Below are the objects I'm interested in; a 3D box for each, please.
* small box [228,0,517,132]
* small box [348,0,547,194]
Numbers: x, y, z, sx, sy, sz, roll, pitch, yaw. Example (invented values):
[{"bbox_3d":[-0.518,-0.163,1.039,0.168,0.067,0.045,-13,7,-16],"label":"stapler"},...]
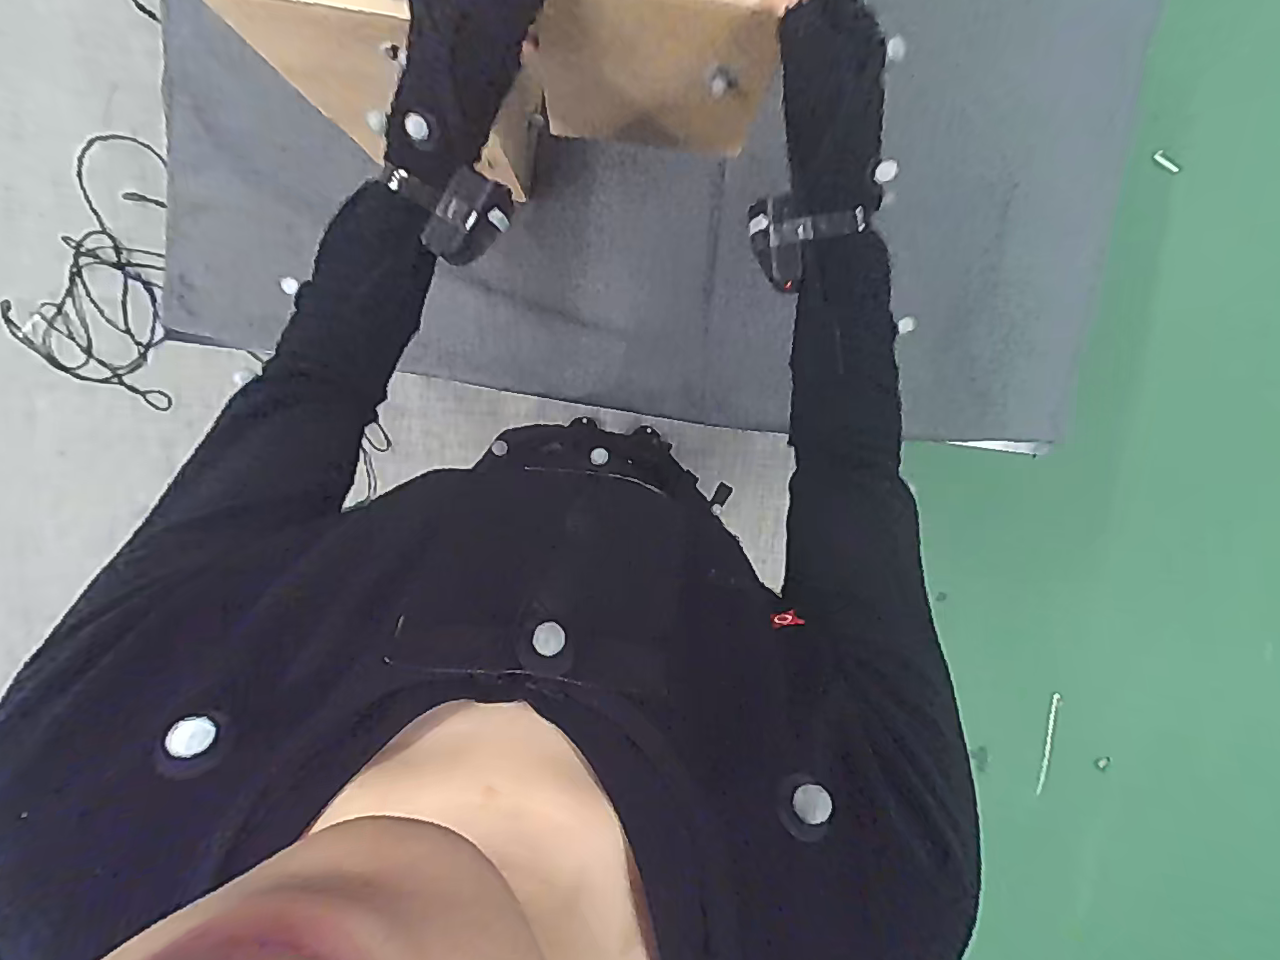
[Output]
[{"bbox_3d":[-0.203,-0.420,0.443,0.179,0.176,0.168,7,97,-3],"label":"small box"},{"bbox_3d":[-0.212,-0.447,0.606,0.179,0.176,0.168,9,97,-3],"label":"small box"}]
